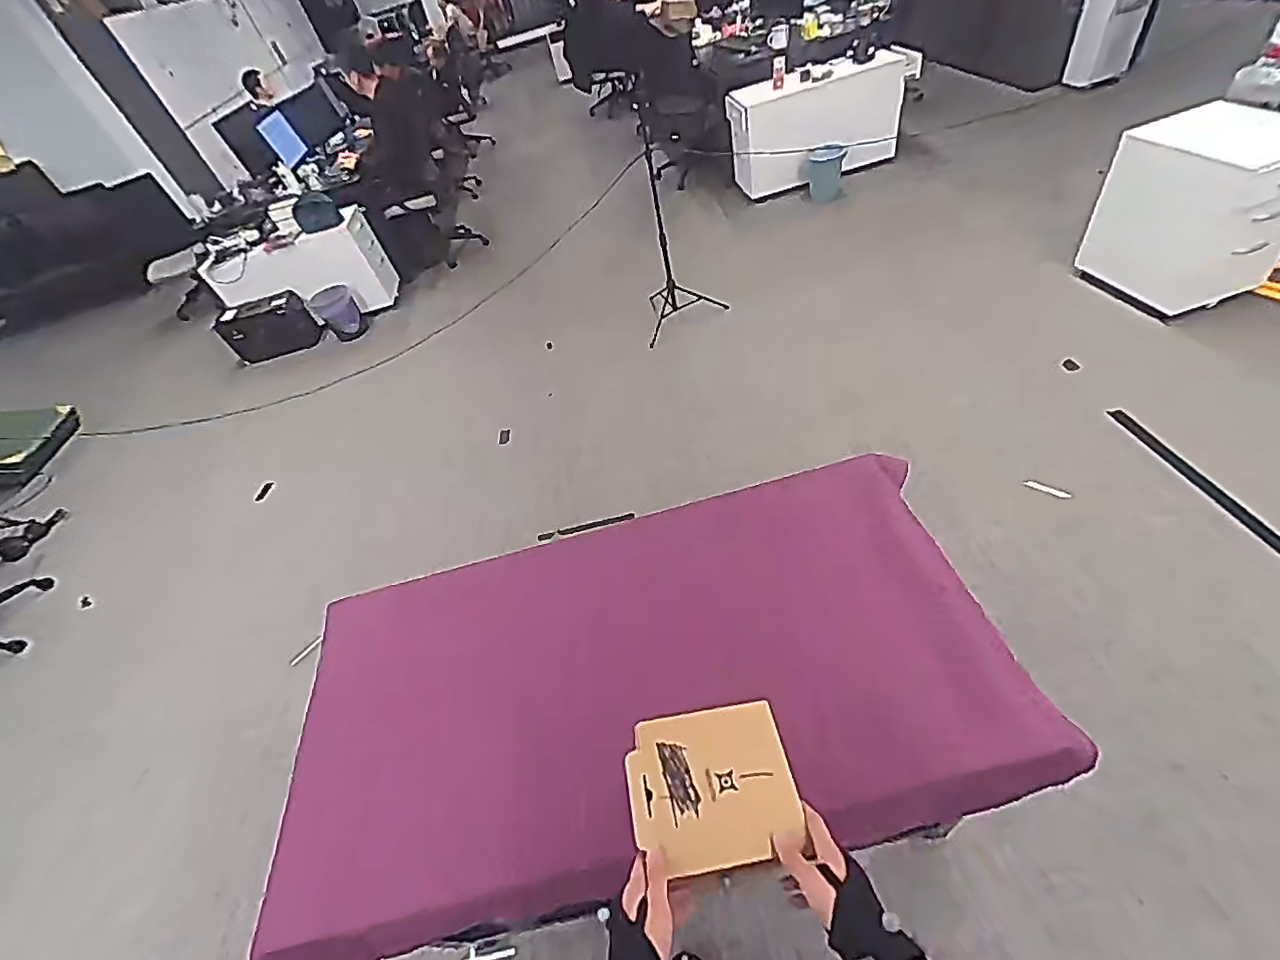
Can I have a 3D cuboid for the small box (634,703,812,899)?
[{"bbox_3d":[0.091,0.409,0.687,0.179,0.176,0.168,-7,47,-7],"label":"small box"}]
